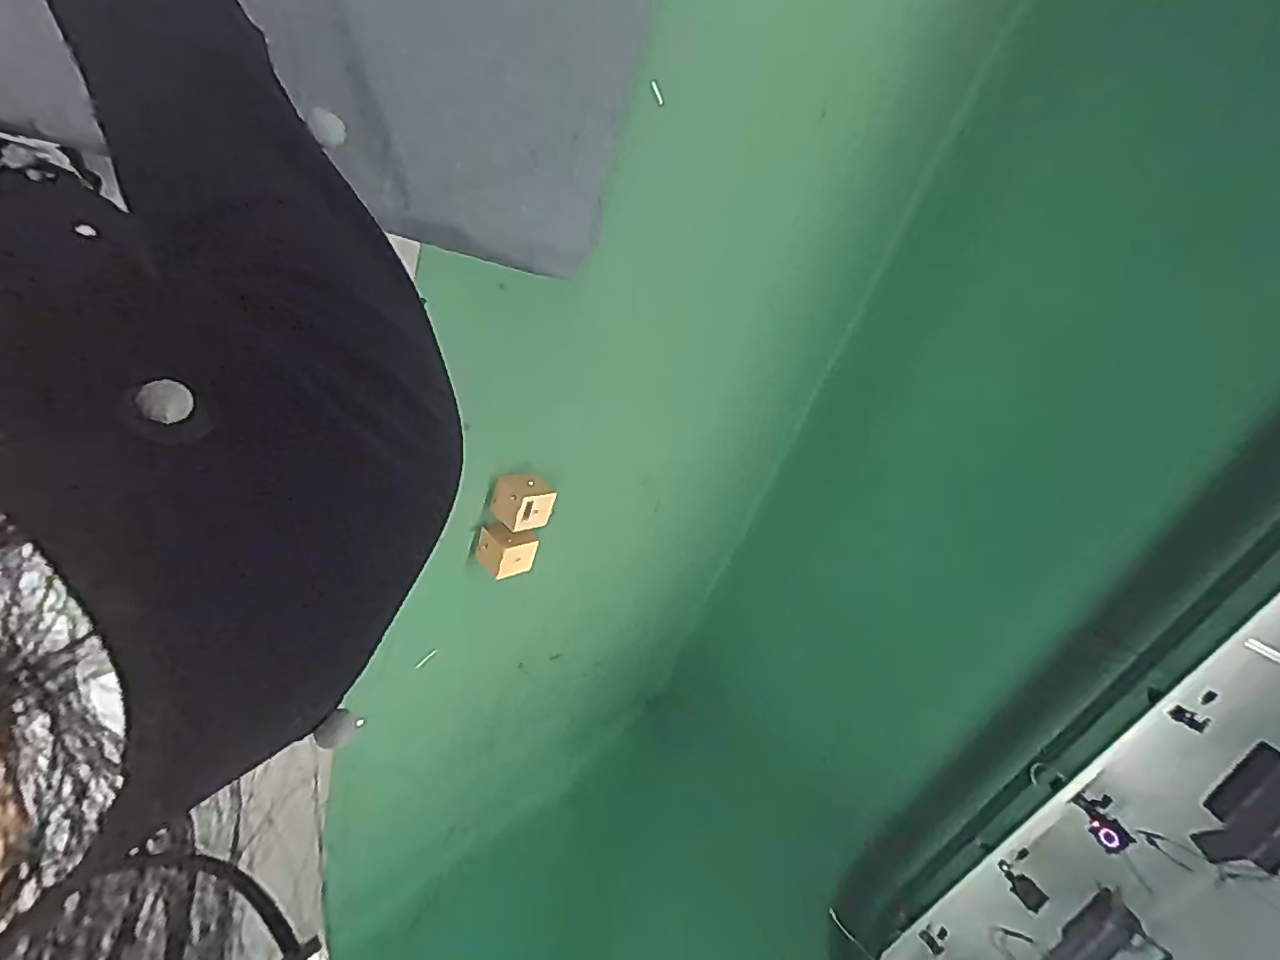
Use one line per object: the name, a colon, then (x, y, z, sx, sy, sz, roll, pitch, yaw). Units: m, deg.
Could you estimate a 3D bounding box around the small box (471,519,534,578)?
small box: (-0.584, 0.285, 2.294, 0.179, 0.176, 0.168, -11, 130, -49)
